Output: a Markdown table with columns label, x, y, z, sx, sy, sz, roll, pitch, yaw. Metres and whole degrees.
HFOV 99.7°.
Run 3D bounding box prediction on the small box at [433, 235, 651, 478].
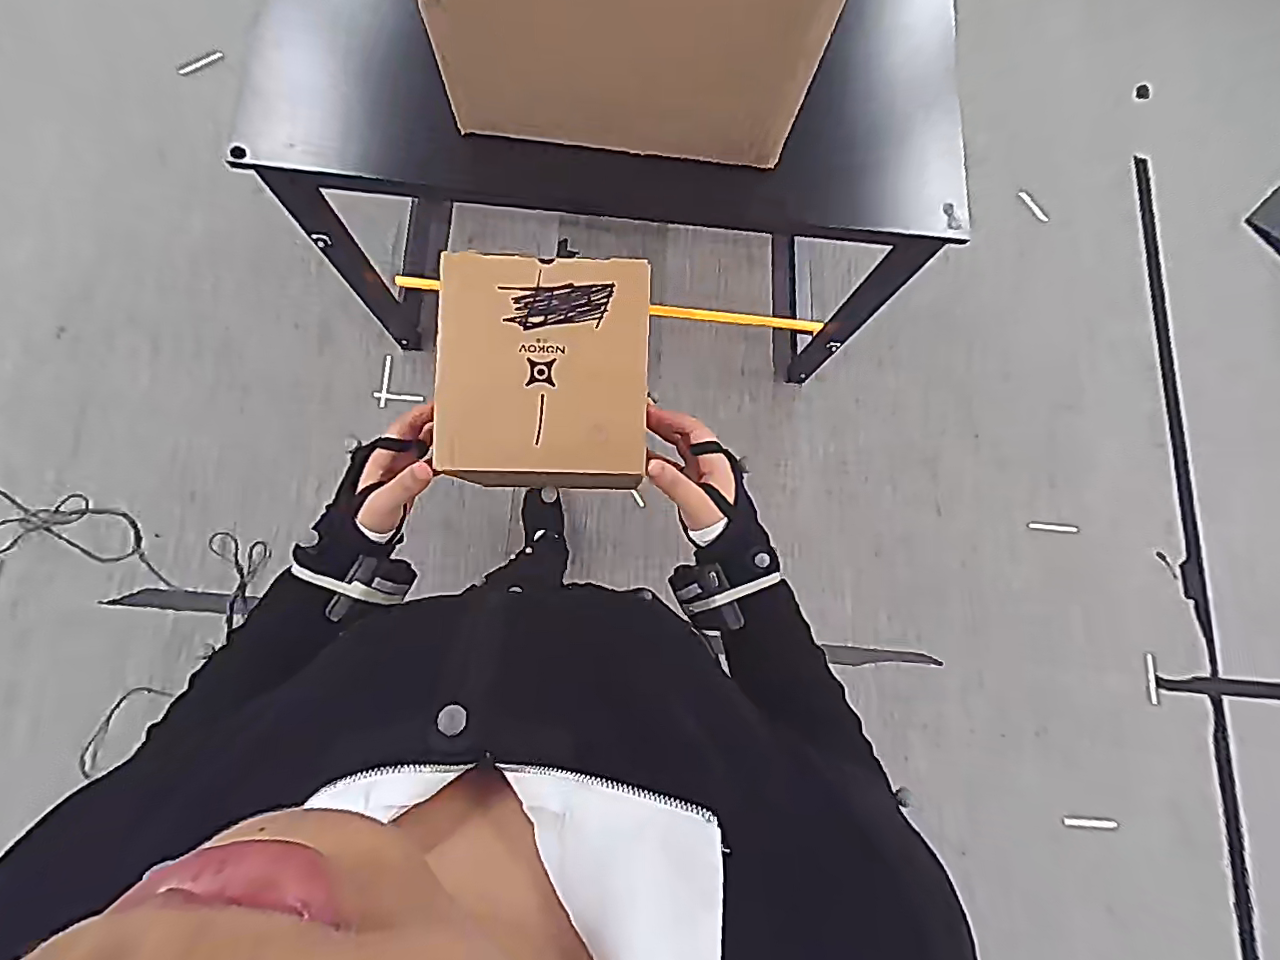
| label | x | y | z | sx | sy | sz | roll | pitch | yaw |
| --- | --- | --- | --- | --- | --- | --- | --- | --- | --- |
| small box | -0.080 | -0.099 | 0.506 | 0.168 | 0.176 | 0.179 | 1 | 85 | -3 |
